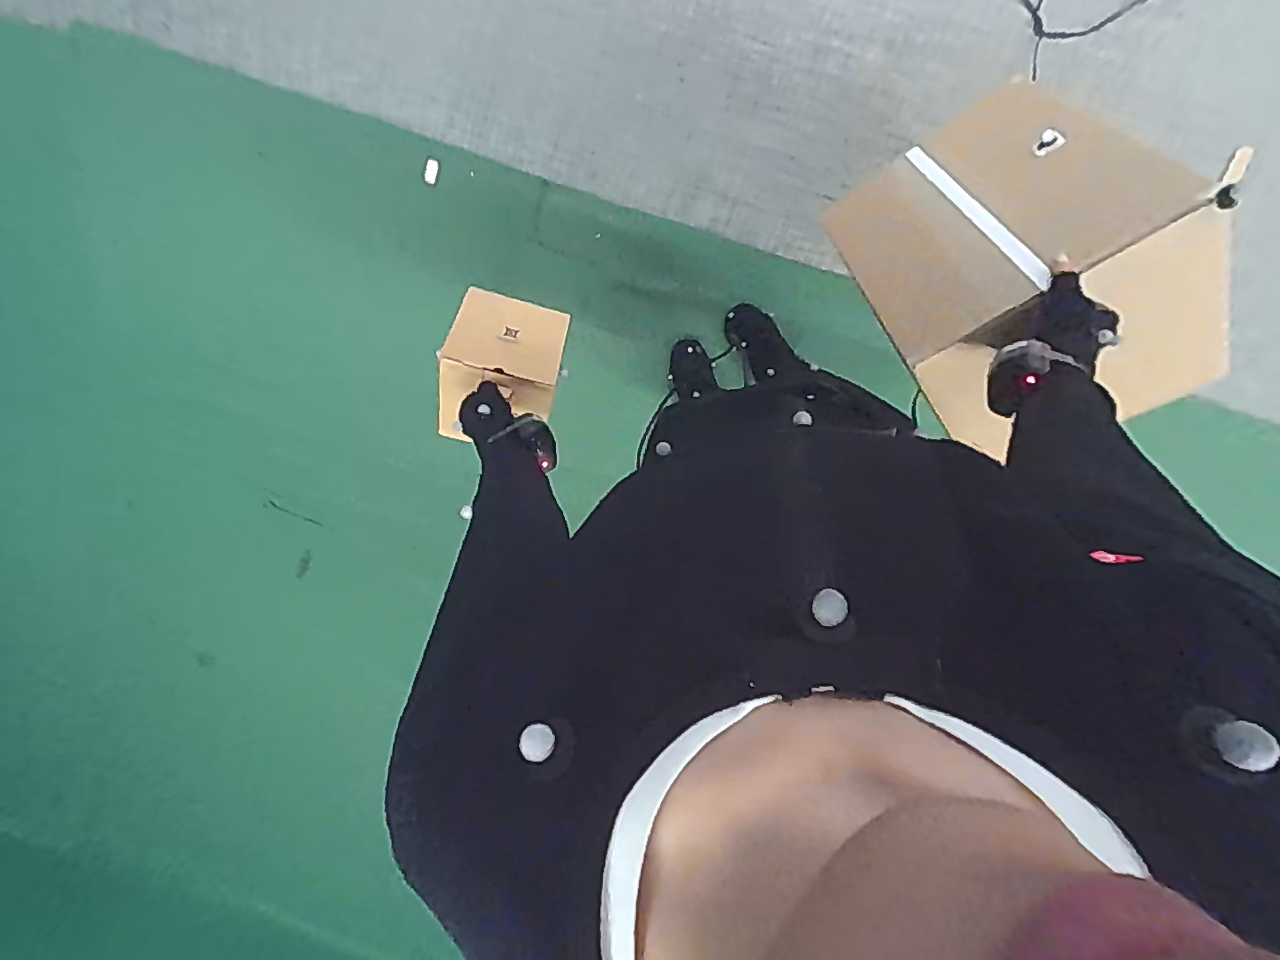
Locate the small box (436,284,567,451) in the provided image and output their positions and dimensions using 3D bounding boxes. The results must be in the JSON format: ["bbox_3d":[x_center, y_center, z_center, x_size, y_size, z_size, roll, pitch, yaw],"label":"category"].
[{"bbox_3d":[-0.228,-0.177,0.882,0.168,0.179,0.176,14,142,-13],"label":"small box"}]
